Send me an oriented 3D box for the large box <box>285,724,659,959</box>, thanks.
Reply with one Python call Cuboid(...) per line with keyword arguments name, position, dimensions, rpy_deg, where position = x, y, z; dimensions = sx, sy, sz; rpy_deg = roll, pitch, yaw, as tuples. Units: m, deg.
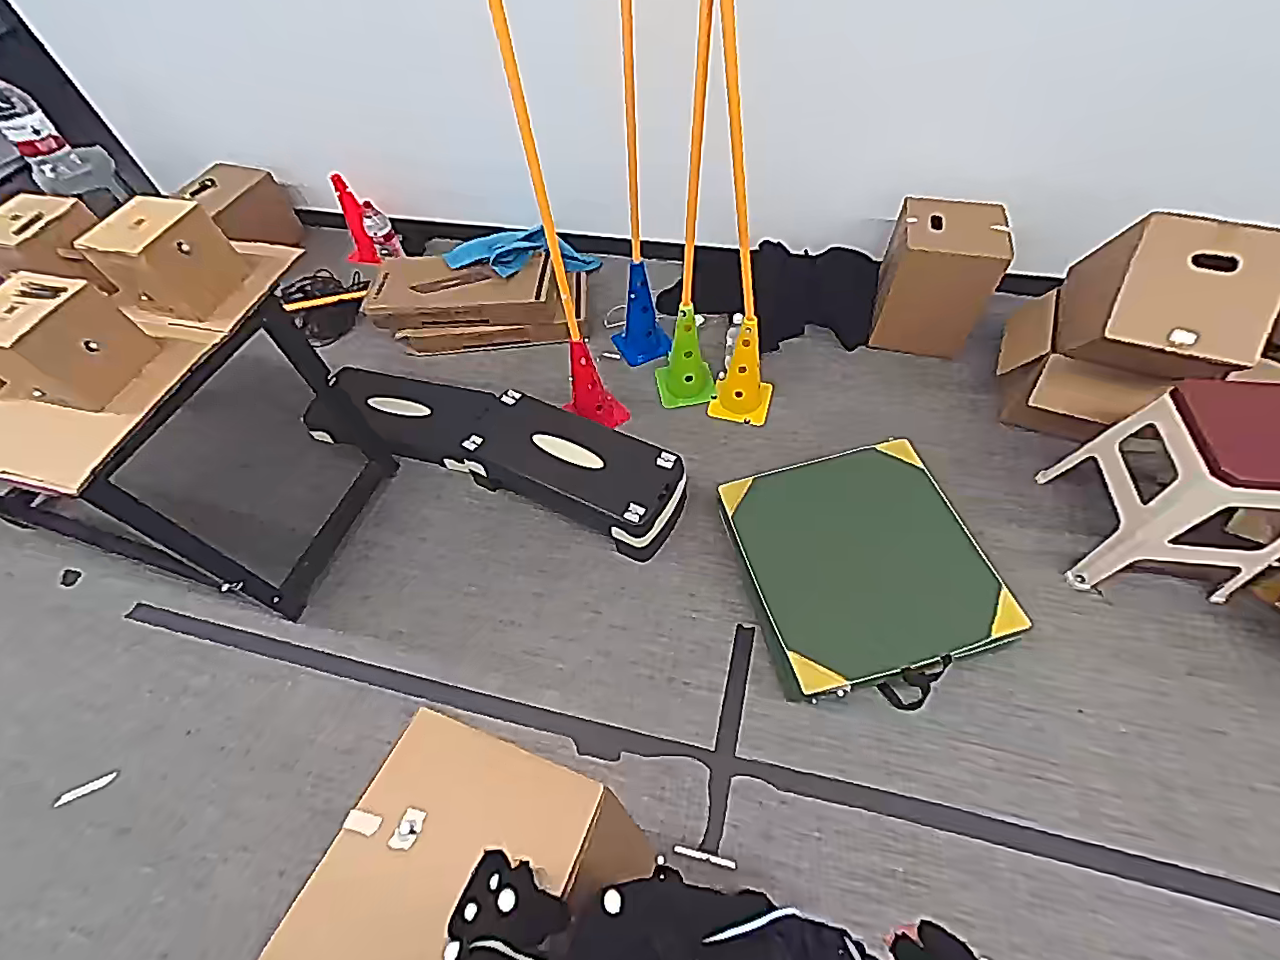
Cuboid(name="large box", position=(-0.195, 0.614, 0.785), dimensions=(0.320, 0.408, 0.320), rpy_deg=(11, 51, 24))
